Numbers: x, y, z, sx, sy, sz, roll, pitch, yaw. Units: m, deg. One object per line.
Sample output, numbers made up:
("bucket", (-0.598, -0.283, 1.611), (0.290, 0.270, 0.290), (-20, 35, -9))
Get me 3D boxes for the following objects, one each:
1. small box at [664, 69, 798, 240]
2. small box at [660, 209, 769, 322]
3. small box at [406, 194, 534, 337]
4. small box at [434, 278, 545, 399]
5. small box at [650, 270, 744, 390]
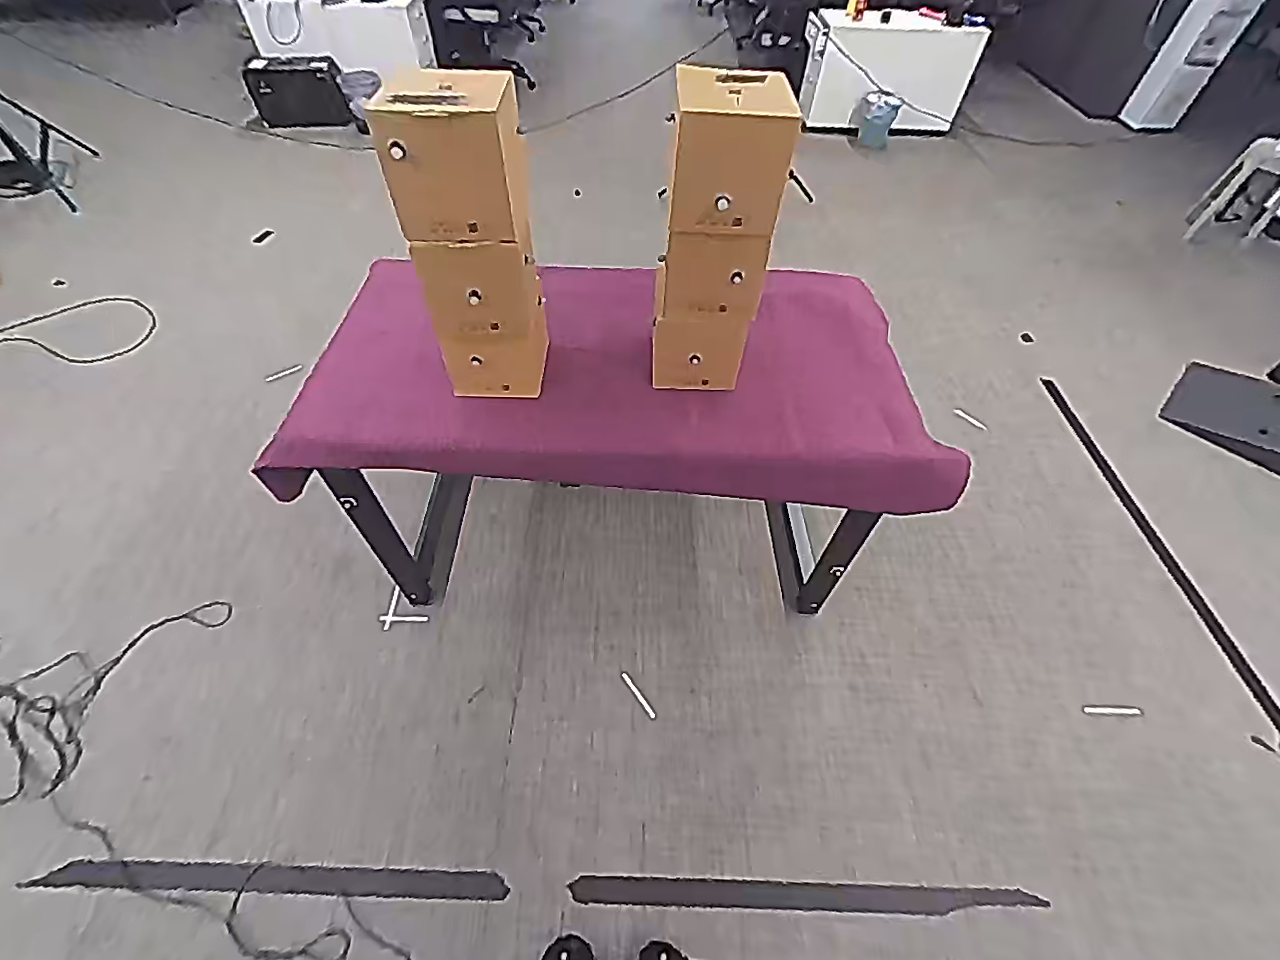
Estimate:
("small box", (0.126, -0.494, 0.826), (0.168, 0.176, 0.179), (2, 53, -1))
("small box", (0.124, -0.400, 0.961), (0.168, 0.176, 0.179), (3, 51, -1))
("small box", (-0.273, -0.357, 0.915), (0.168, 0.176, 0.179), (-3, 53, -5))
("small box", (-0.282, -0.274, 1.057), (0.168, 0.176, 0.179), (1, 52, -2))
("small box", (0.107, -0.298, 1.087), (0.168, 0.176, 0.179), (2, 52, -2))
